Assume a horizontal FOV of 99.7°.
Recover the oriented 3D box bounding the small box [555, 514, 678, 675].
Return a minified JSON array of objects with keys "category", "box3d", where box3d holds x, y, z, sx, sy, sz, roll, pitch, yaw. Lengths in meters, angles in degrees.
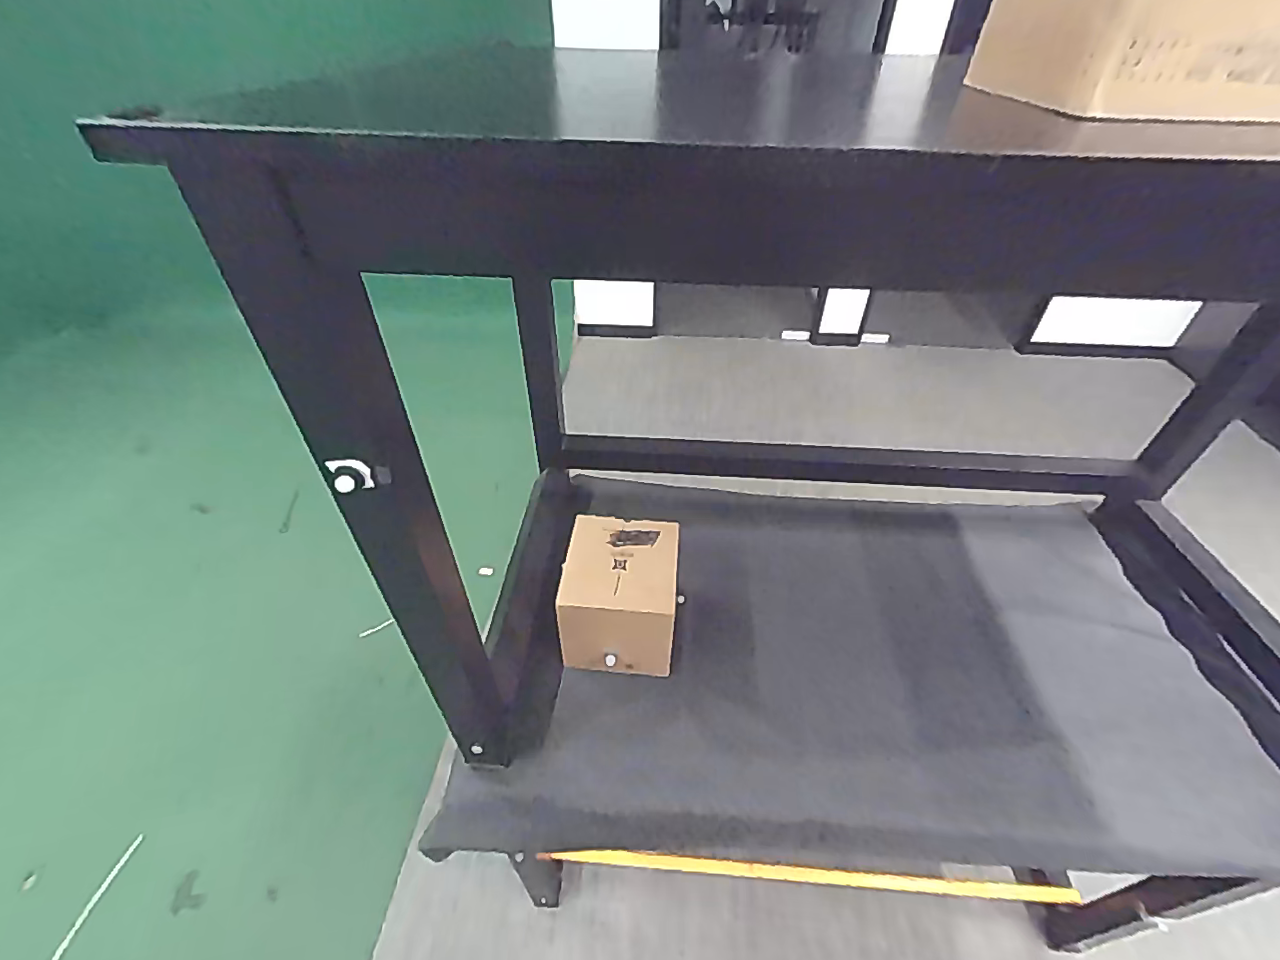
[{"category":"small box","box3d":[-0.031,0.178,0.851,0.168,0.176,0.179,4,42,3]}]
